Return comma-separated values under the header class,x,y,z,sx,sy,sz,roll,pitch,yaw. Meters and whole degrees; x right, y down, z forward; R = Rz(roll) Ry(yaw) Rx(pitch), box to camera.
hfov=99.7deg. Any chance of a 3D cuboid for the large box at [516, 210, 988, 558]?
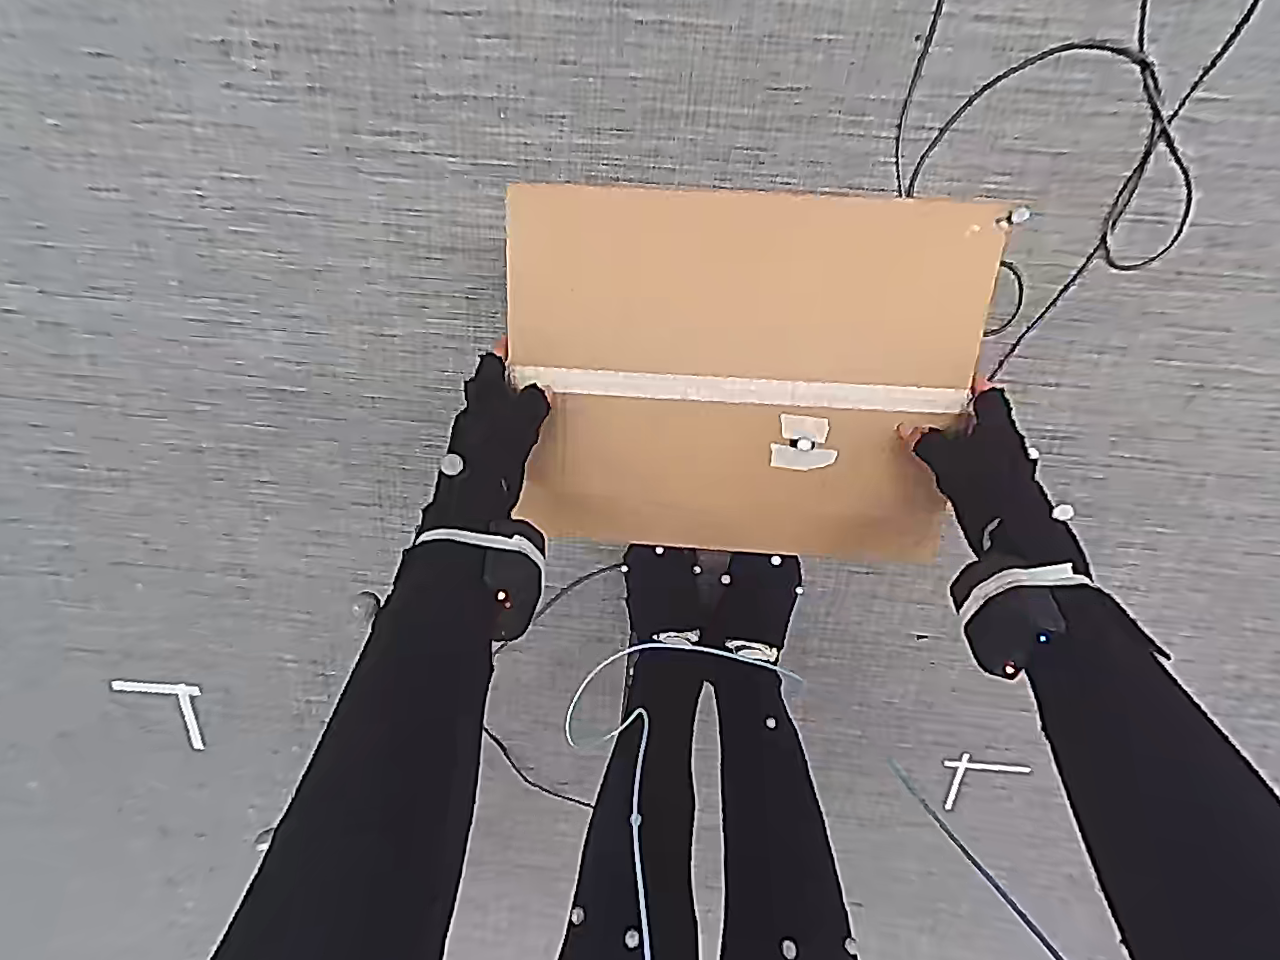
class,x,y,z,sx,sy,sz,roll,pitch,yaw
large box,0.094,-0.119,0.639,0.408,0.320,0.320,3,108,3
